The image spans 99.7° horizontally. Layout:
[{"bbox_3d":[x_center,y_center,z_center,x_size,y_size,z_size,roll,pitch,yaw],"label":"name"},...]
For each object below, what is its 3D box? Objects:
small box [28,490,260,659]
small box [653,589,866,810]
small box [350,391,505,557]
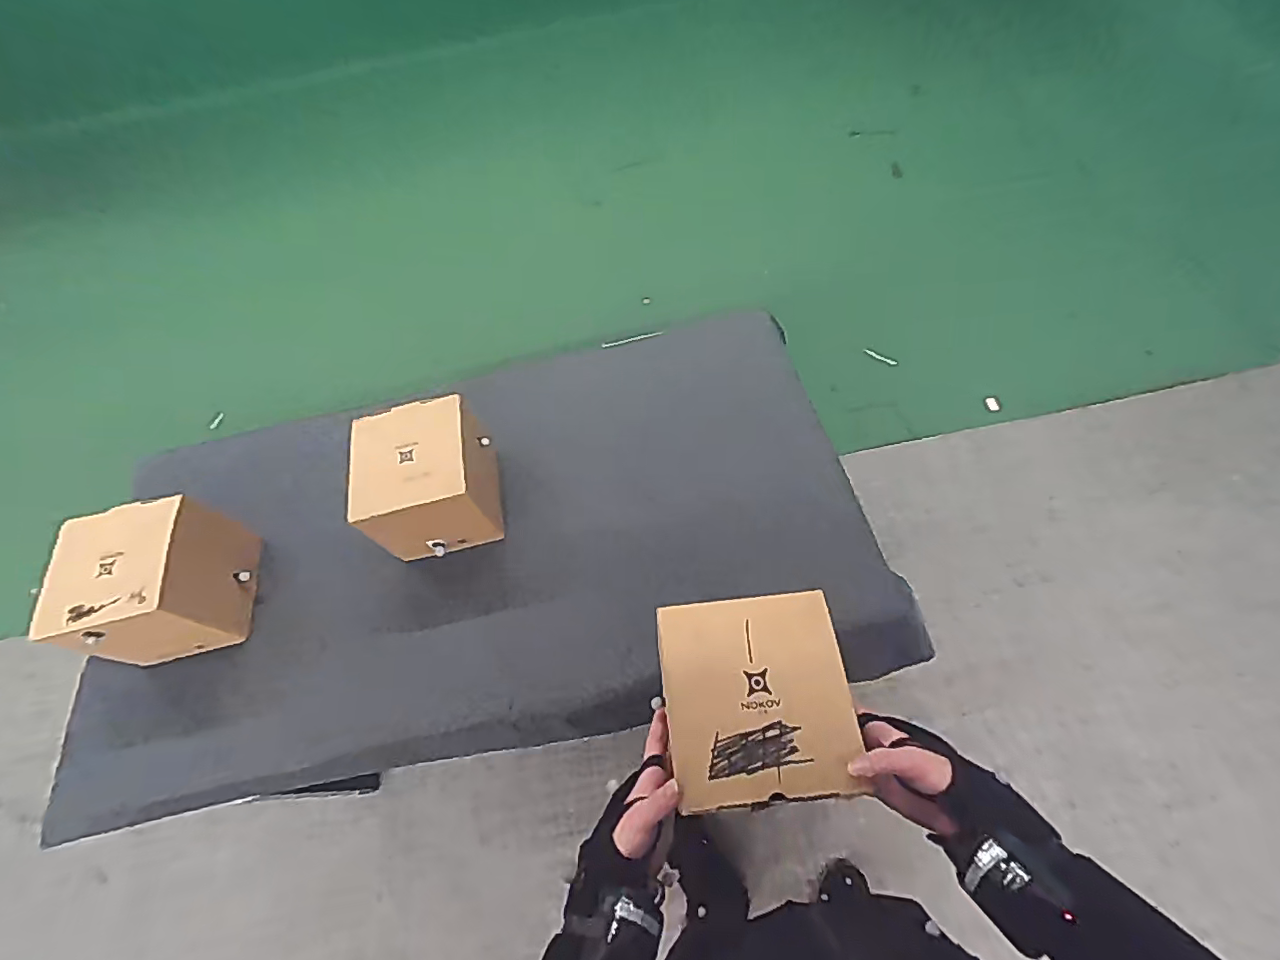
[{"bbox_3d":[-0.696,0.142,0.788,0.168,0.176,0.179,-14,61,-1],"label":"small box"},{"bbox_3d":[0.105,0.227,0.558,0.168,0.176,0.179,-6,61,-1],"label":"small box"},{"bbox_3d":[-0.318,-0.004,0.831,0.168,0.176,0.179,-15,63,-1],"label":"small box"}]
